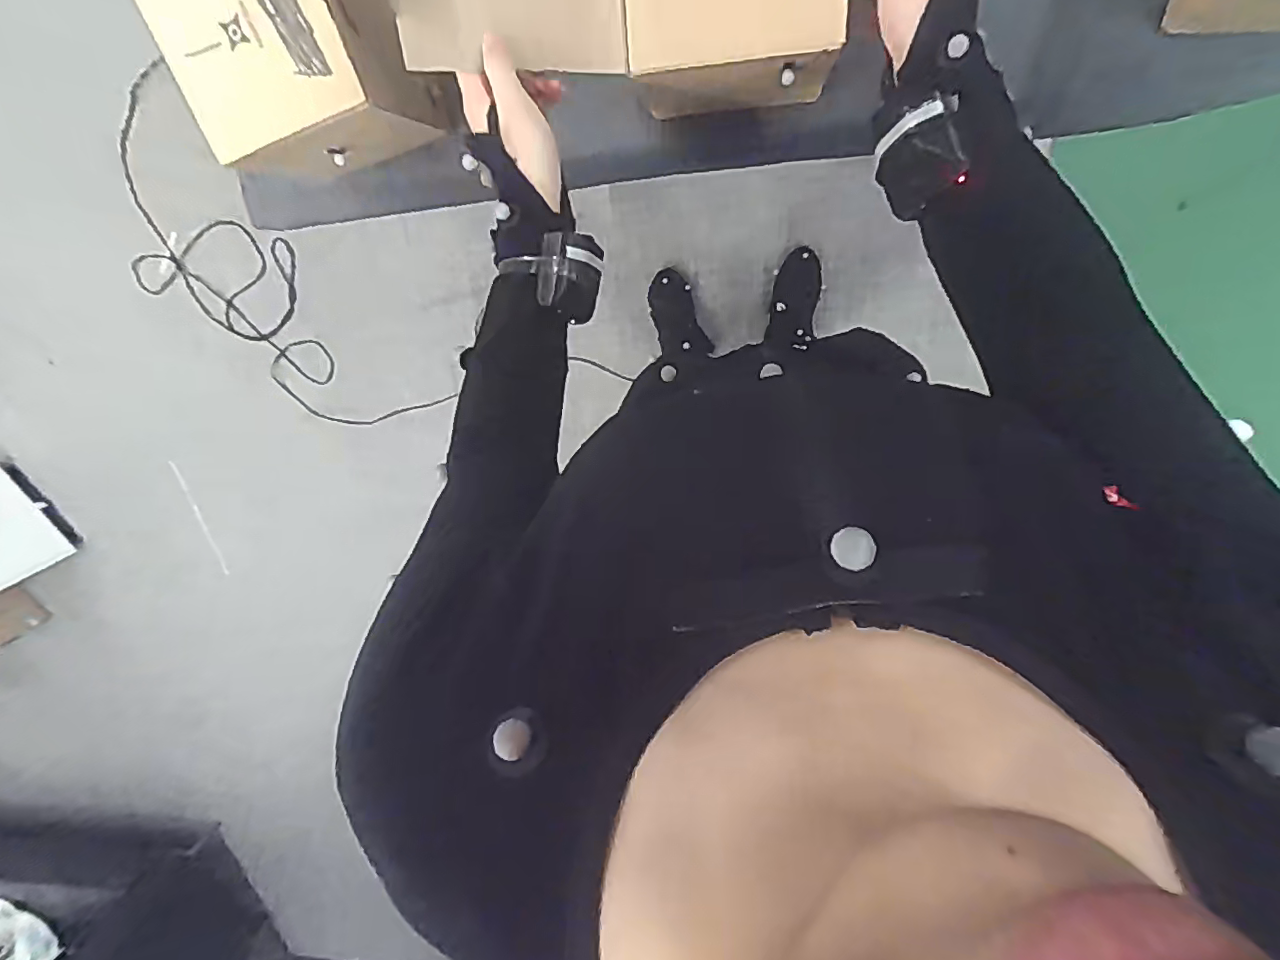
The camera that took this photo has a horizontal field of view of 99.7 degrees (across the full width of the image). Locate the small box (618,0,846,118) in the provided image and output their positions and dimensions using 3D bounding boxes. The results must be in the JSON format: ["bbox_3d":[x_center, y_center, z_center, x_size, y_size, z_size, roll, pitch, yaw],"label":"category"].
[{"bbox_3d":[0.080,-0.436,0.473,0.179,0.176,0.168,0,113,10],"label":"small box"}]

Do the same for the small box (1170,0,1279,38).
[{"bbox_3d":[0.551,-0.445,0.383,0.179,0.176,0.168,5,111,8],"label":"small box"}]

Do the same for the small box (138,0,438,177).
[{"bbox_3d":[-0.331,-0.422,0.544,0.179,0.176,0.168,-11,113,14],"label":"small box"}]
